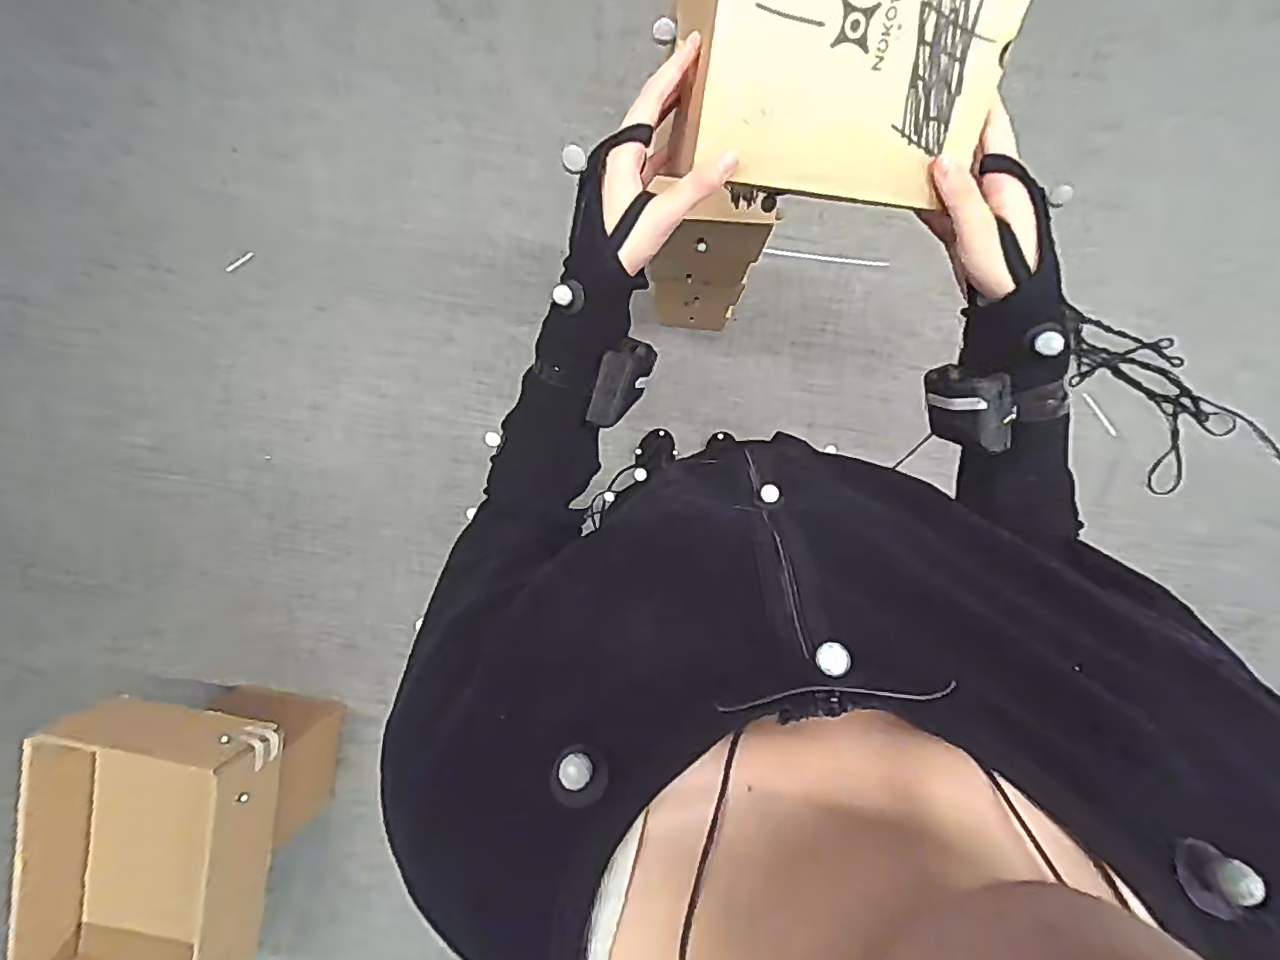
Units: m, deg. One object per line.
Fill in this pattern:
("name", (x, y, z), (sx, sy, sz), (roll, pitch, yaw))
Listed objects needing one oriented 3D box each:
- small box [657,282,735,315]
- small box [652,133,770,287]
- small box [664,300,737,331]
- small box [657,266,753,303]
("small box", (0.138, -0.480, 1.225), (0.179, 0.176, 0.168), (8, 95, 3))
("small box", (0.112, -0.440, 0.902), (0.168, 0.176, 0.179), (6, 96, 4))
("small box", (0.160, -0.489, 1.388), (0.179, 0.176, 0.168), (8, 94, 3))
("small box", (0.130, -0.454, 1.064), (0.179, 0.176, 0.168), (6, 95, 3))
